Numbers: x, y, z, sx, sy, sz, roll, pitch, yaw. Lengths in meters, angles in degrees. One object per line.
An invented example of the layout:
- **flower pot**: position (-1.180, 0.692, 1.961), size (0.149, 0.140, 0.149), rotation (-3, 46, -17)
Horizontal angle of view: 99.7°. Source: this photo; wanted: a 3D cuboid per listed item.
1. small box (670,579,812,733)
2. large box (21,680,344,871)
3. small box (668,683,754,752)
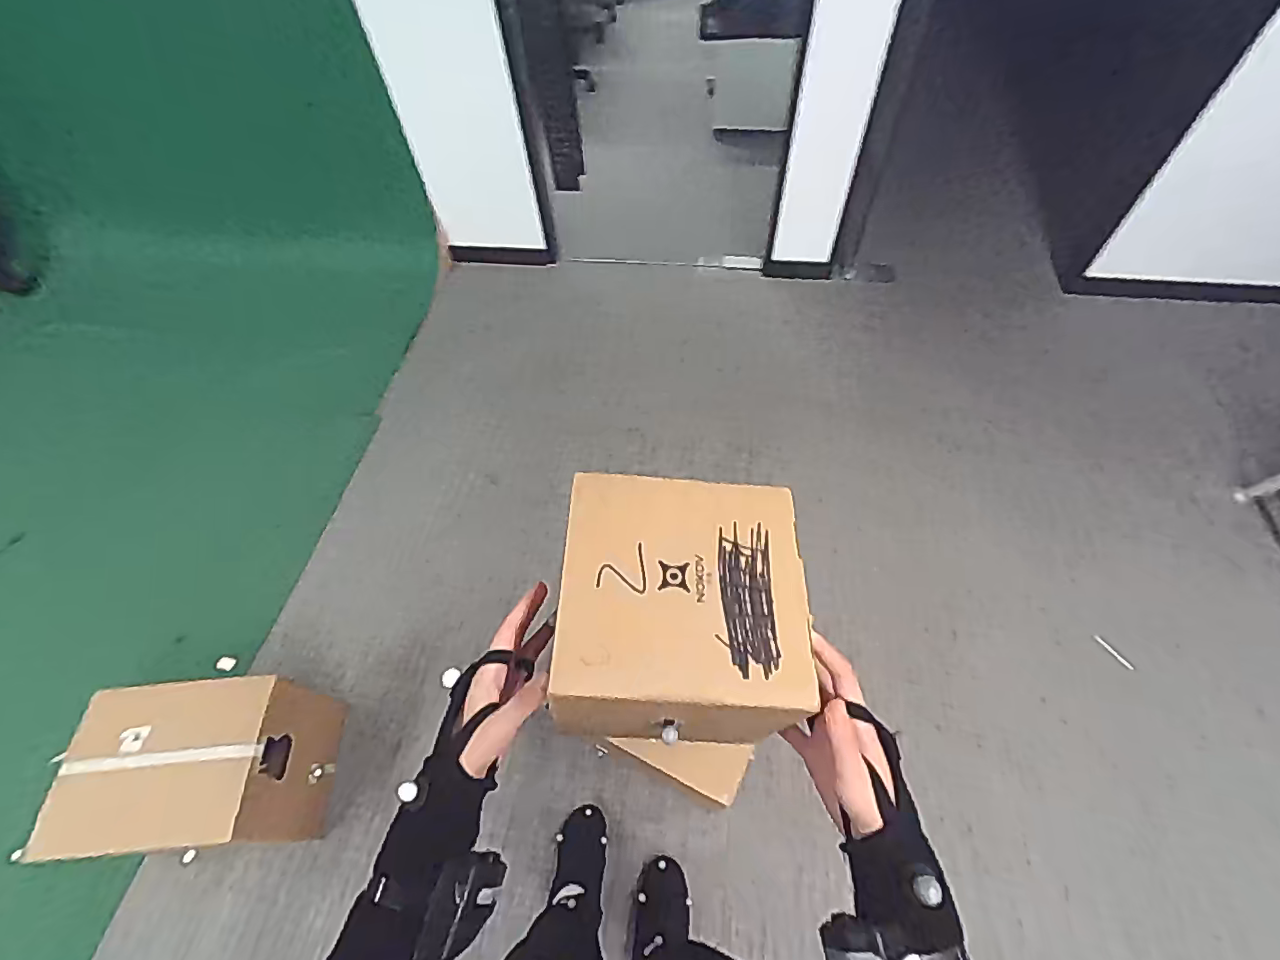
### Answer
- **small box**: position (0.163, 0.301, 0.910), size (0.179, 0.176, 0.168), rotation (24, 59, 19)
- **large box**: position (-0.962, 0.664, 1.213), size (0.408, 0.320, 0.320), rotation (-6, 55, 1)
- **small box**: position (0.161, 0.392, 1.045), size (0.168, 0.176, 0.179), rotation (23, 58, 18)
